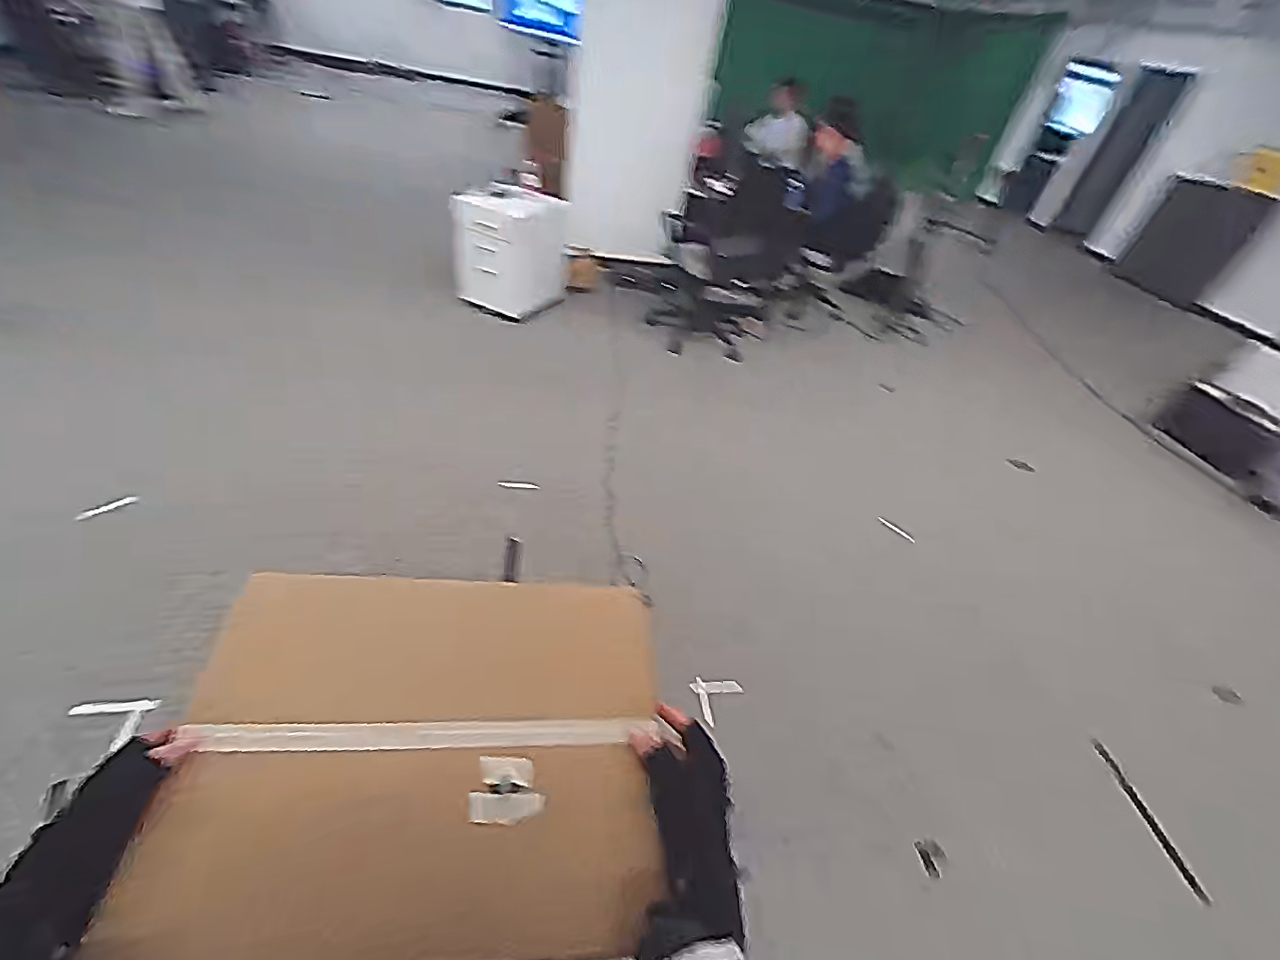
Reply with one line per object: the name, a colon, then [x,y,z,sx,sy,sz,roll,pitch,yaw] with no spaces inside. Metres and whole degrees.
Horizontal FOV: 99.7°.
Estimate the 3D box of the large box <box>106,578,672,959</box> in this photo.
large box: [-0.209,0.328,0.603,0.408,0.320,0.320,5,49,-11]
